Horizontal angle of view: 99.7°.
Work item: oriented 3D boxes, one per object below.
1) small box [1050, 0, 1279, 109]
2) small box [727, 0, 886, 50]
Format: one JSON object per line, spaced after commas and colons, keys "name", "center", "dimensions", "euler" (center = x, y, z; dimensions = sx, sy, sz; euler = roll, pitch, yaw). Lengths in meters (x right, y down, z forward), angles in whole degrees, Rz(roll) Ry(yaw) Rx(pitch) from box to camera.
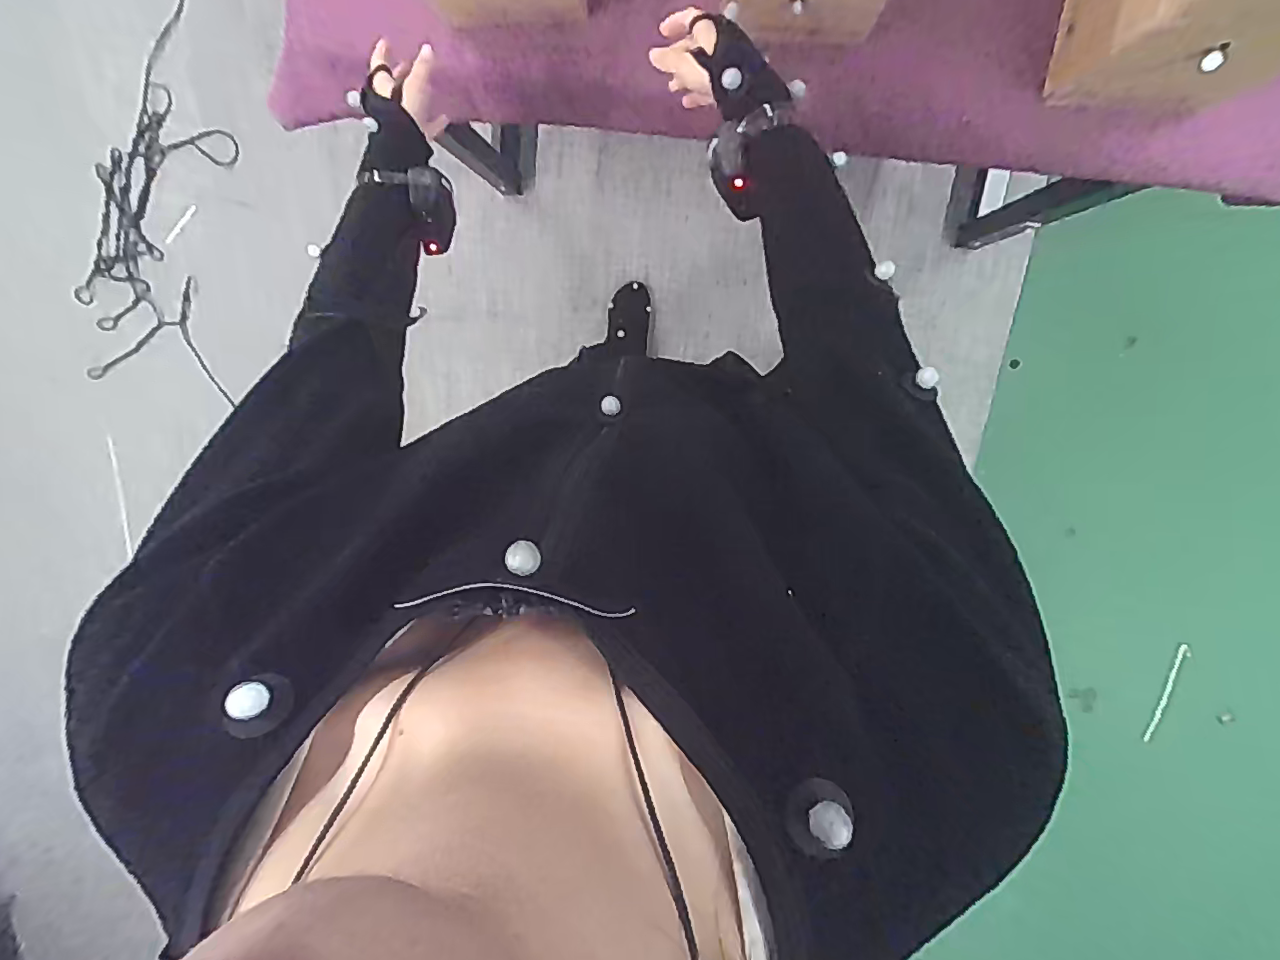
{"name": "small box", "center": [0.548, -0.479, 0.513], "dimensions": [0.179, 0.176, 0.168], "euler": [6, 105, 7]}
{"name": "small box", "center": [0.180, -0.570, 0.537], "dimensions": [0.168, 0.176, 0.179], "euler": [7, 103, 5]}
